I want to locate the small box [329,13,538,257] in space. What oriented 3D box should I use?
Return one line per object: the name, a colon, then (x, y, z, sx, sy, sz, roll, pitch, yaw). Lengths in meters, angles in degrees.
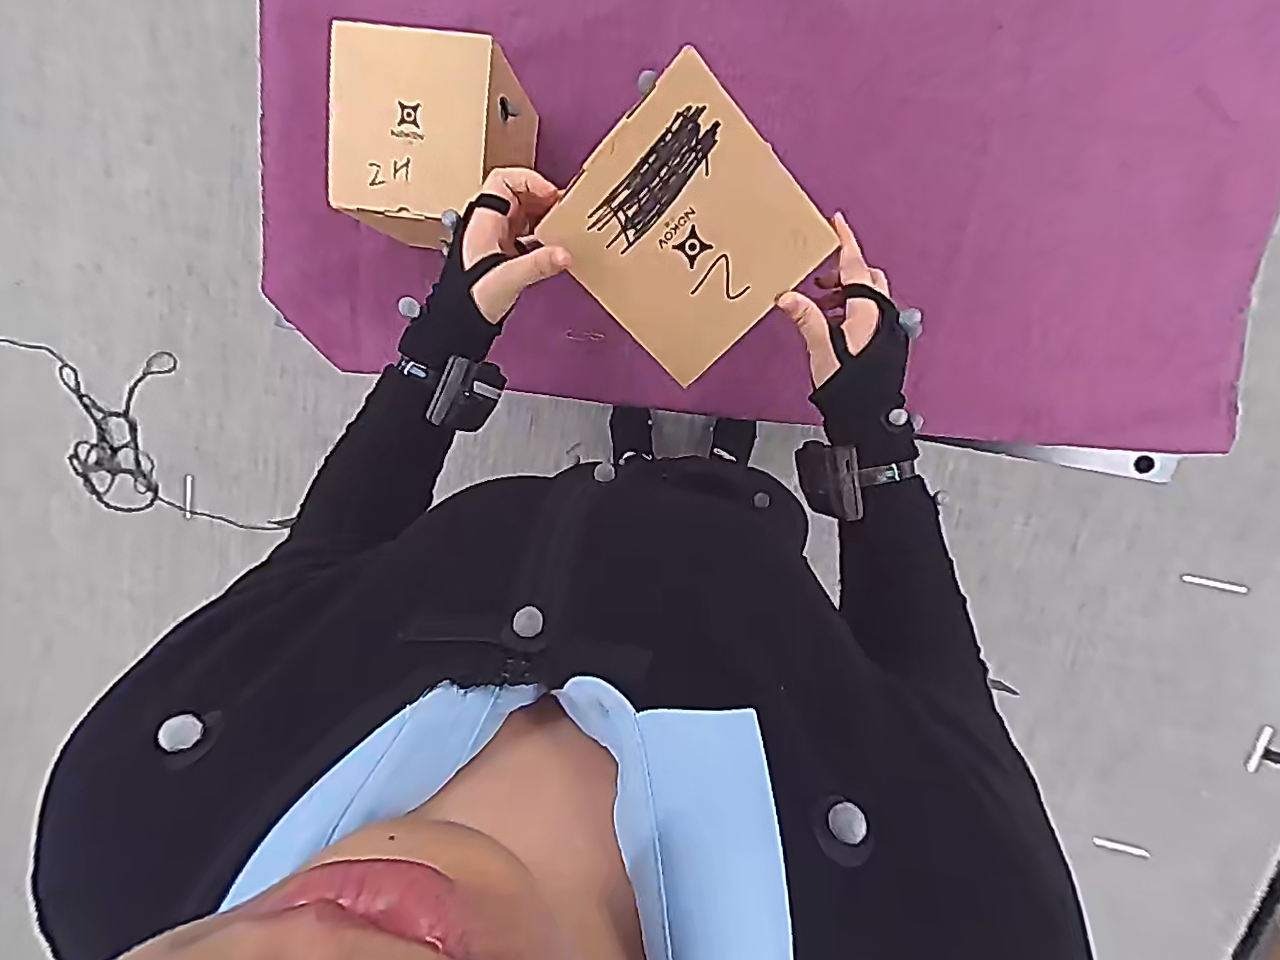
small box: (-0.221, -0.372, 0.615, 0.168, 0.176, 0.179, 8, 101, 4)
